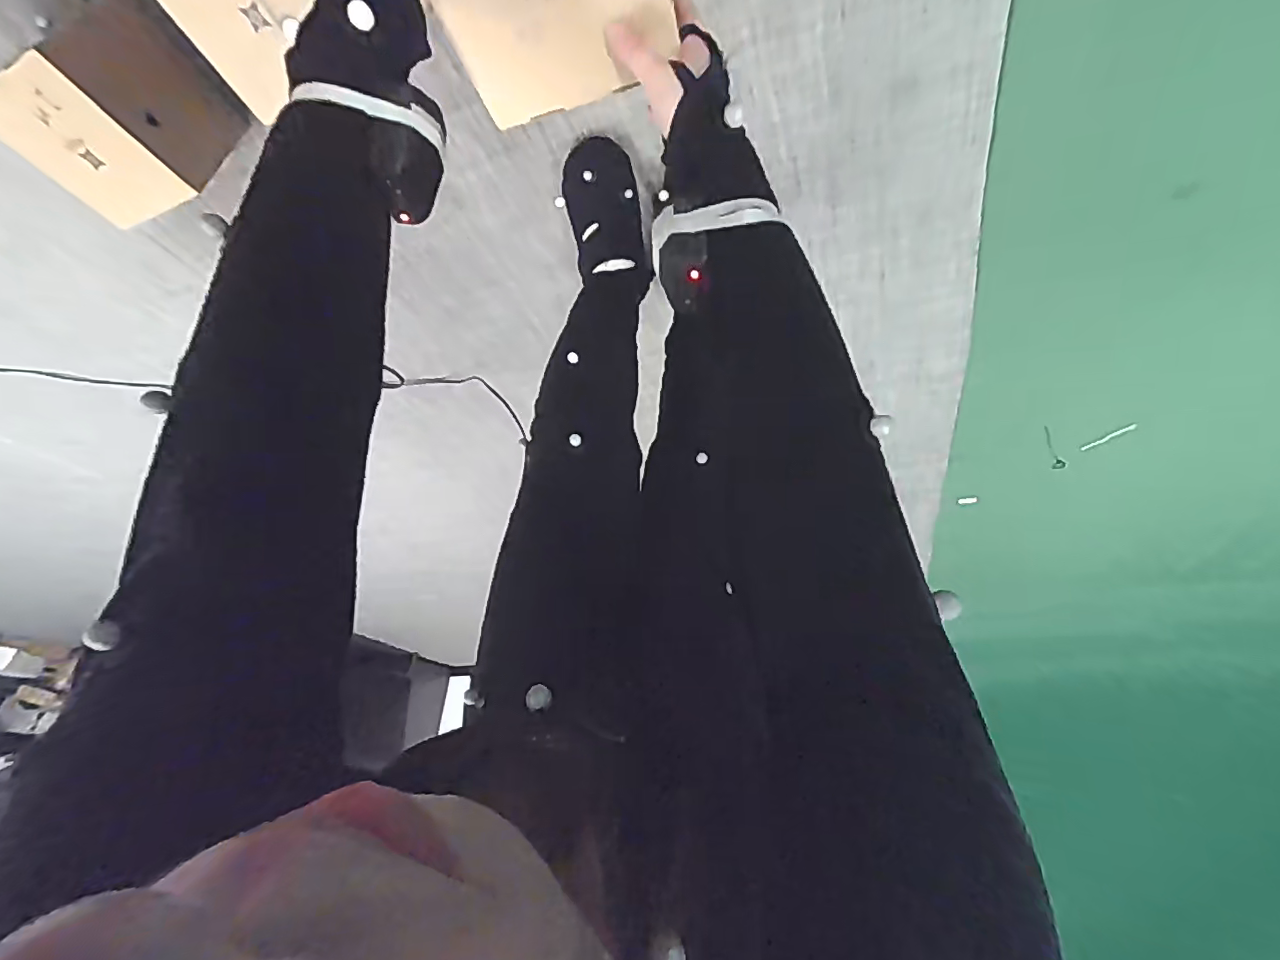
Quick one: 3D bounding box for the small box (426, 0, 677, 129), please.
[{"bbox_3d":[-0.067,-0.418,0.409,0.168,0.176,0.179,-5,150,17],"label":"small box"}]
